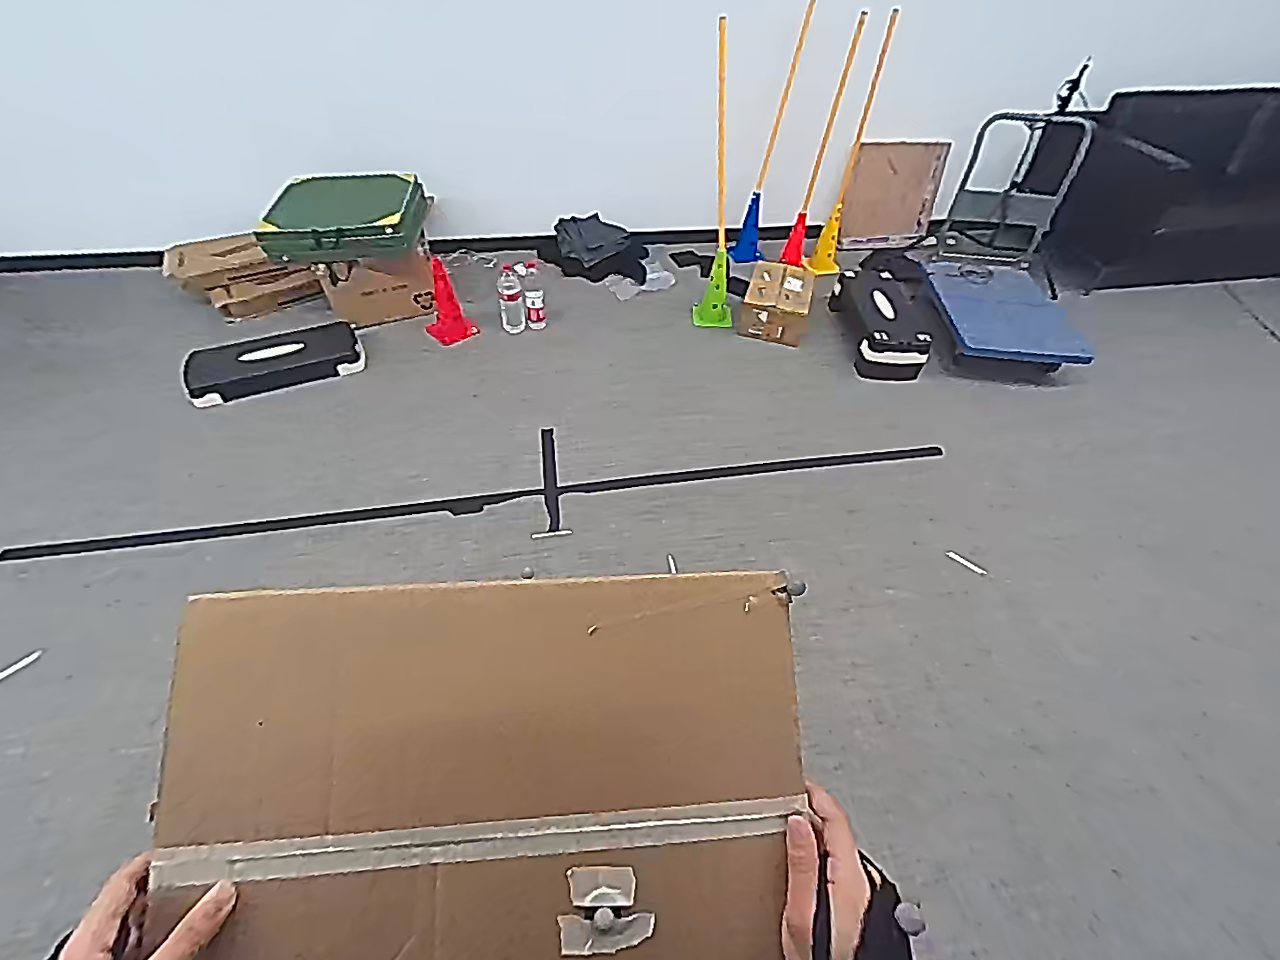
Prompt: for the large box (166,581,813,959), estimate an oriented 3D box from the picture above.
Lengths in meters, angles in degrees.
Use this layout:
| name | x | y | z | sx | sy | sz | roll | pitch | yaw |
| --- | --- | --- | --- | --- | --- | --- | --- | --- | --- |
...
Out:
| name | x | y | z | sx | sy | sz | roll | pitch | yaw |
| --- | --- | --- | --- | --- | --- | --- | --- | --- | --- |
| large box | -0.103 | 0.263 | 0.498 | 0.408 | 0.320 | 0.320 | -1 | 80 | -6 |
